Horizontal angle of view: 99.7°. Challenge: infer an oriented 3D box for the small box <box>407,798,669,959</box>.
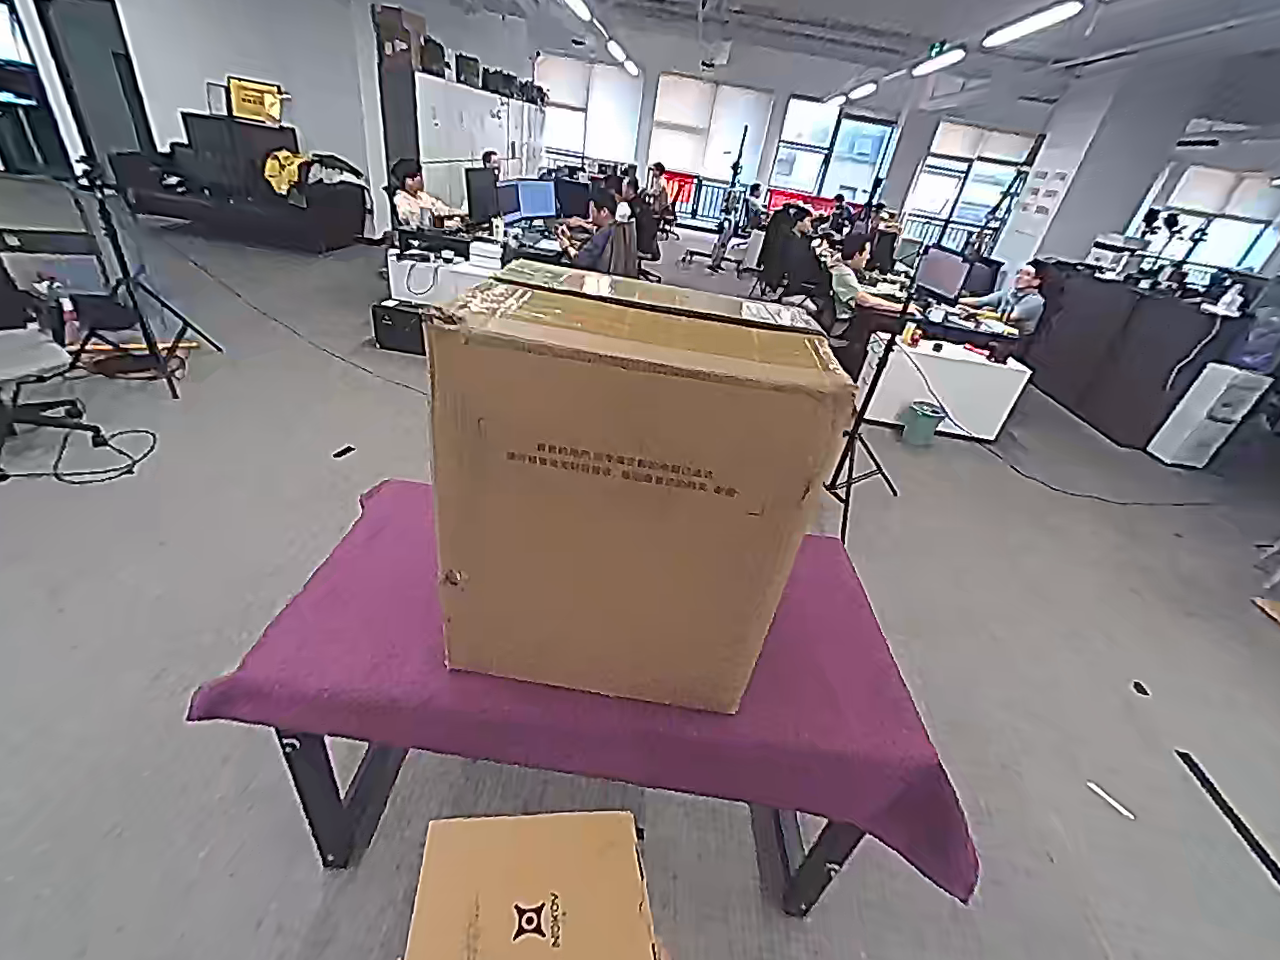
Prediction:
[{"bbox_3d":[-0.084,0.381,0.417,0.179,0.176,0.168,4,20,-13],"label":"small box"}]
